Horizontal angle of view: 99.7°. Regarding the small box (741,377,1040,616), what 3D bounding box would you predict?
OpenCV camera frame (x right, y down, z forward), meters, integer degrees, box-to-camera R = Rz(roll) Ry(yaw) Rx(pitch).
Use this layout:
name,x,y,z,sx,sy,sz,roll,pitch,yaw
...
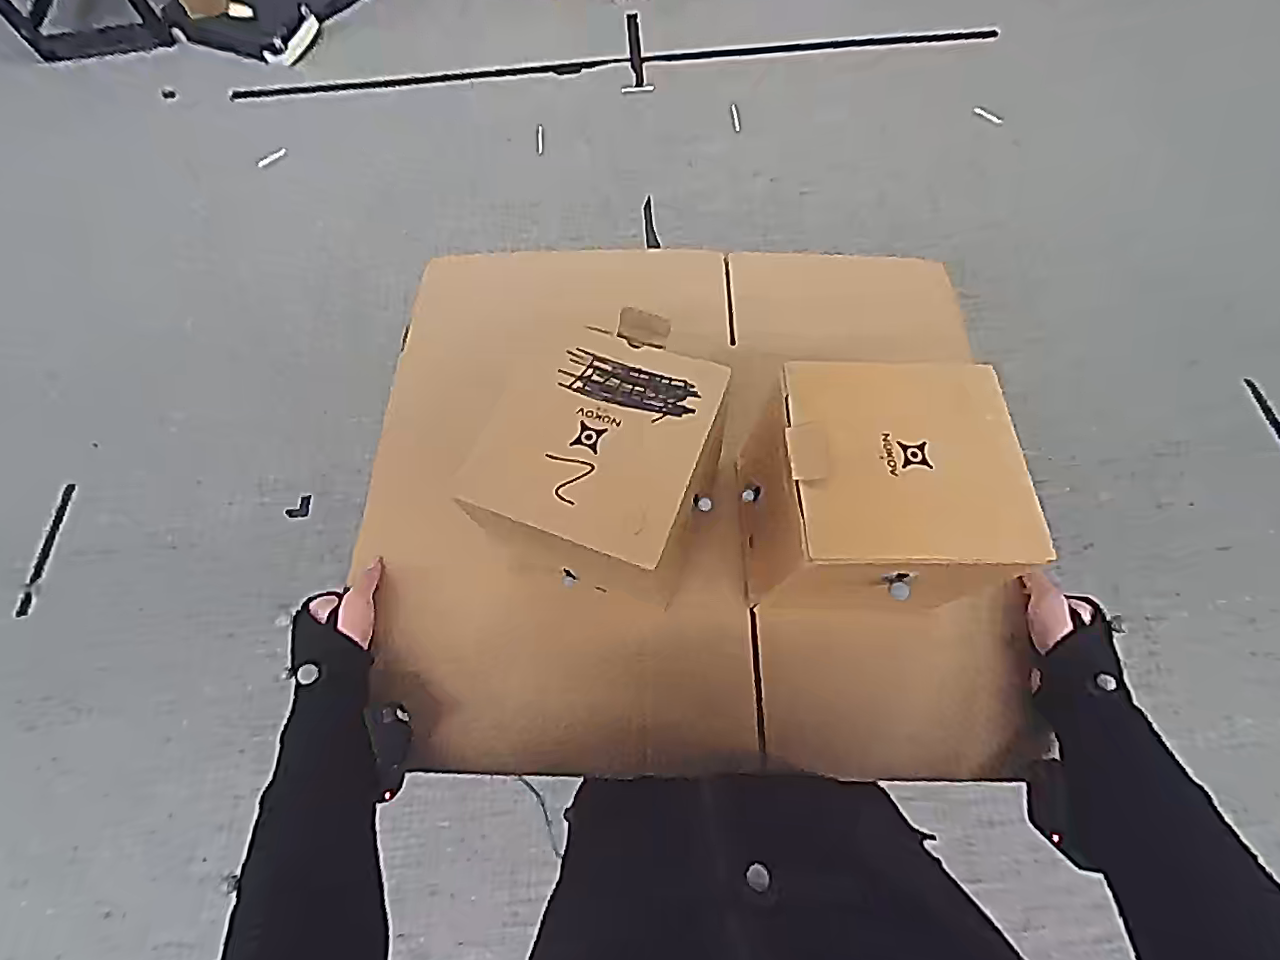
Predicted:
name,x,y,z,sx,sy,sz,roll,pitch,yaw
small box,0.199,0.024,0.489,0.179,0.176,0.168,0,65,-1
